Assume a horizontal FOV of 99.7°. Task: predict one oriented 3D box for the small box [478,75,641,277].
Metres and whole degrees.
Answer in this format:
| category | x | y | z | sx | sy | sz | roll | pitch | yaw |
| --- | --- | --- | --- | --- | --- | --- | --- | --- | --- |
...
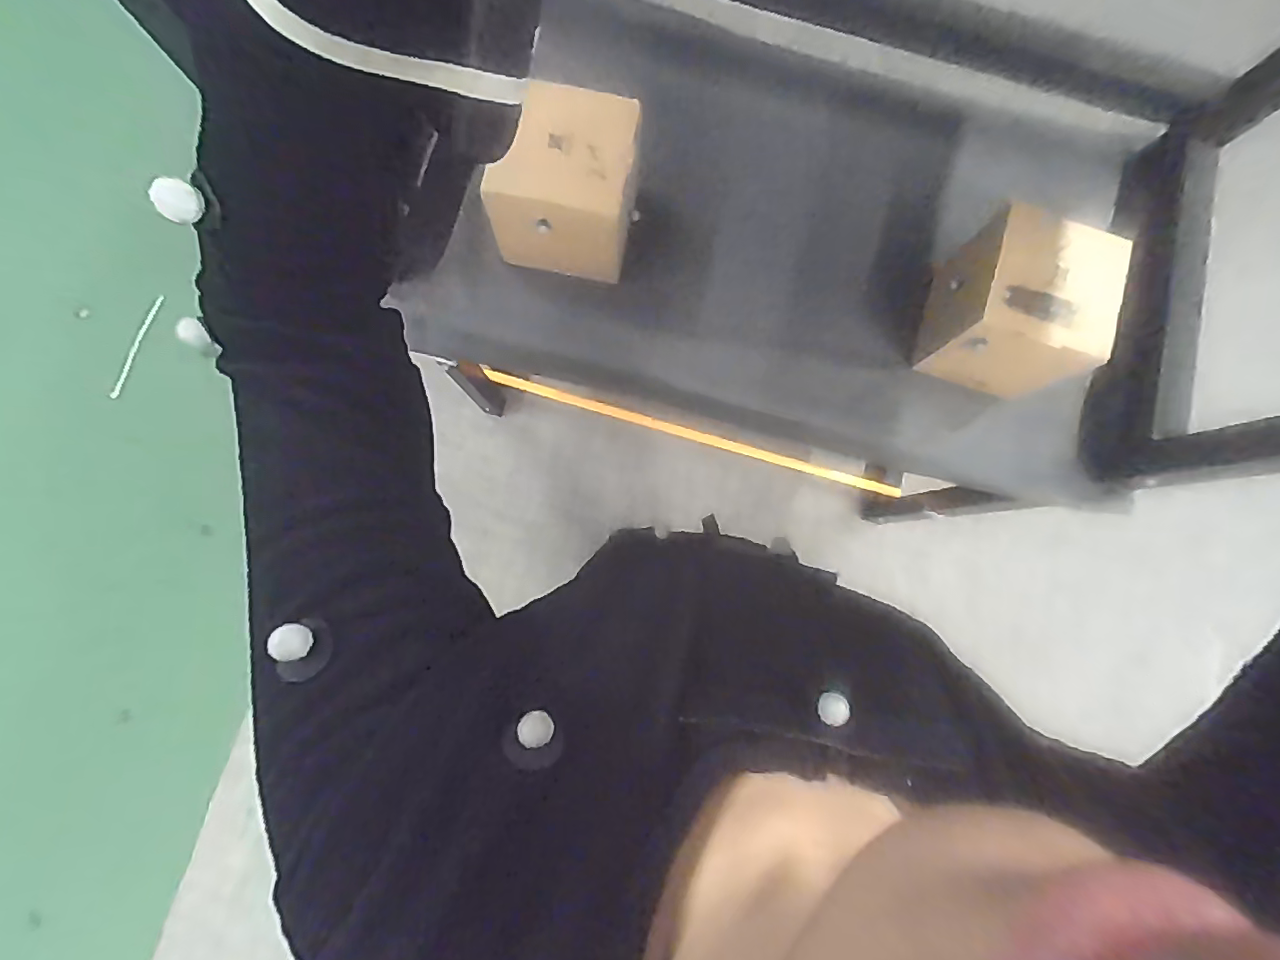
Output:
| category | x | y | z | sx | sy | sz | roll | pitch | yaw |
| --- | --- | --- | --- | --- | --- | --- | --- | --- | --- |
| small box | -0.103 | -0.408 | 0.754 | 0.179 | 0.176 | 0.168 | 11 | 82 | -2 |
